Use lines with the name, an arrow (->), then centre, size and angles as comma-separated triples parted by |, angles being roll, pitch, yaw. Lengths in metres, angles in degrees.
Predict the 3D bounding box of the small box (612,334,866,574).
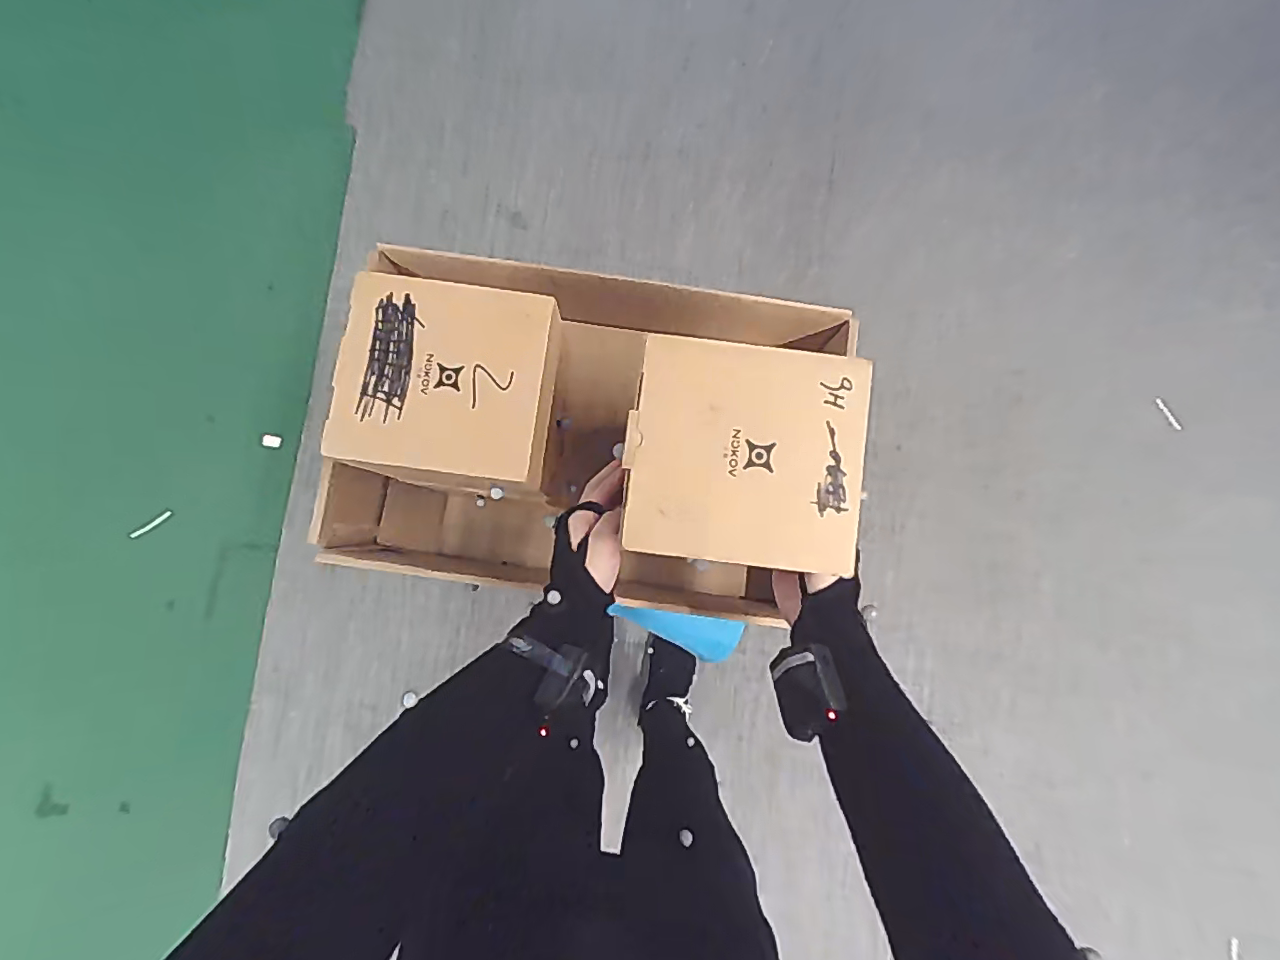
small box -> 0.076, -0.014, 0.483 | 0.179, 0.176, 0.168 | 7, 85, 0
